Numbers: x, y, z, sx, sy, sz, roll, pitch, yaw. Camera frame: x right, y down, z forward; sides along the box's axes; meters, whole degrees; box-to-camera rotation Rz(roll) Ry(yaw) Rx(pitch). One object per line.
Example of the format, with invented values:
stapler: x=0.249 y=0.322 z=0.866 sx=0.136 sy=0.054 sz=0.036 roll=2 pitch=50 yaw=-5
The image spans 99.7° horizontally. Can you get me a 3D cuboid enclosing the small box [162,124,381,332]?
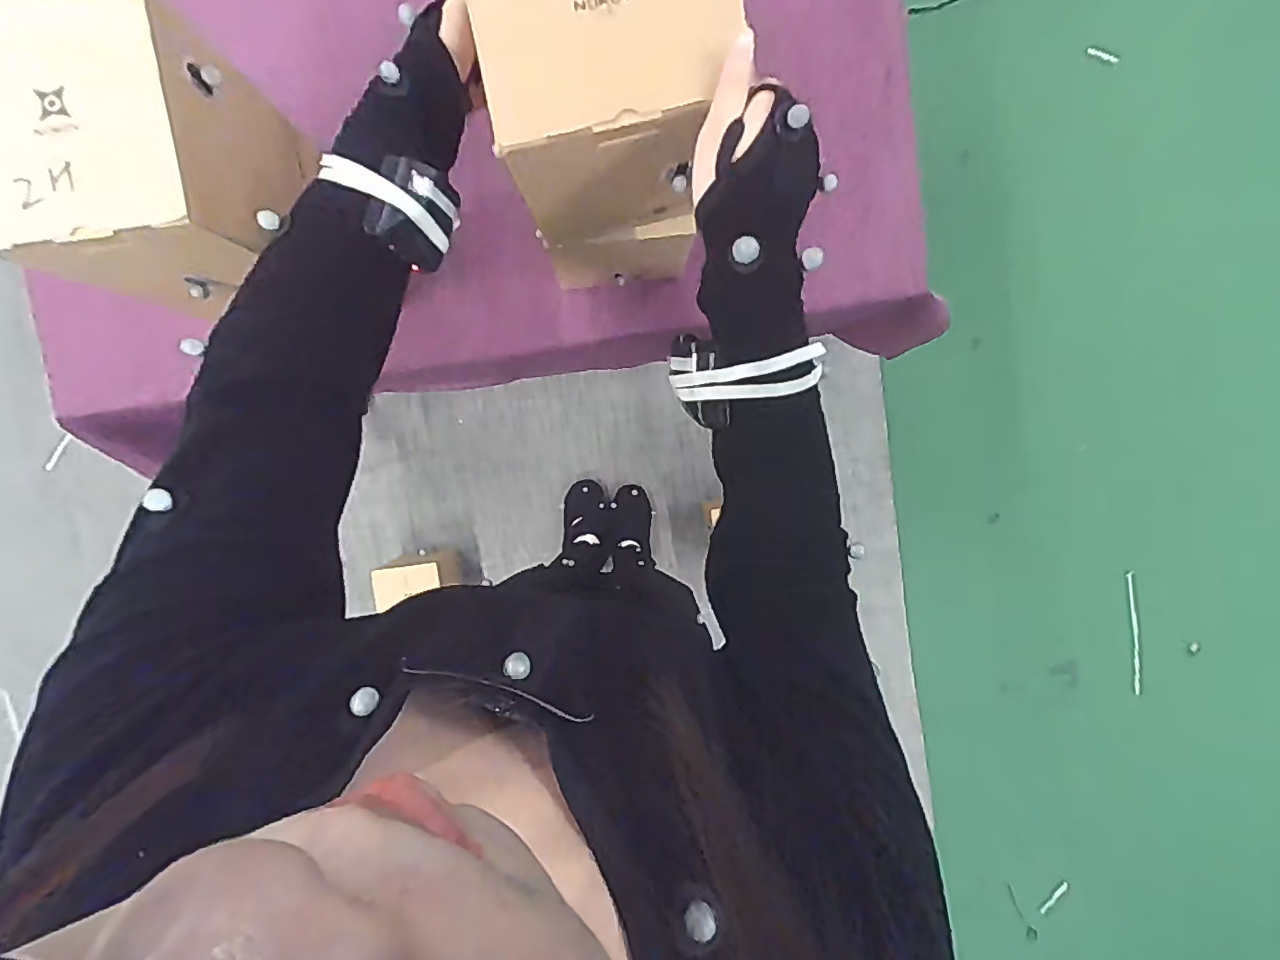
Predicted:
small box: x=-0.432 y=-0.283 z=0.642 sx=0.179 sy=0.176 sz=0.168 roll=-10 pitch=95 yaw=-2

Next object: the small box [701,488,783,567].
small box: x=0.264 y=0.122 z=1.438 sx=0.179 sy=0.176 sz=0.168 roll=-10 pitch=96 yaw=-2

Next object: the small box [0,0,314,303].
small box: x=-0.427 y=-0.273 z=0.477 sx=0.168 sy=0.176 sz=0.179 roll=-8 pitch=96 yaw=-1

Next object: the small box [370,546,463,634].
small box: x=-0.579 y=0.284 z=1.423 sx=0.168 sy=0.176 sz=0.179 roll=-7 pitch=94 yaw=-2

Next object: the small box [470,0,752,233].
small box: x=-0.022 y=-0.311 z=0.414 sx=0.168 sy=0.176 sz=0.179 roll=-11 pitch=94 yaw=2
